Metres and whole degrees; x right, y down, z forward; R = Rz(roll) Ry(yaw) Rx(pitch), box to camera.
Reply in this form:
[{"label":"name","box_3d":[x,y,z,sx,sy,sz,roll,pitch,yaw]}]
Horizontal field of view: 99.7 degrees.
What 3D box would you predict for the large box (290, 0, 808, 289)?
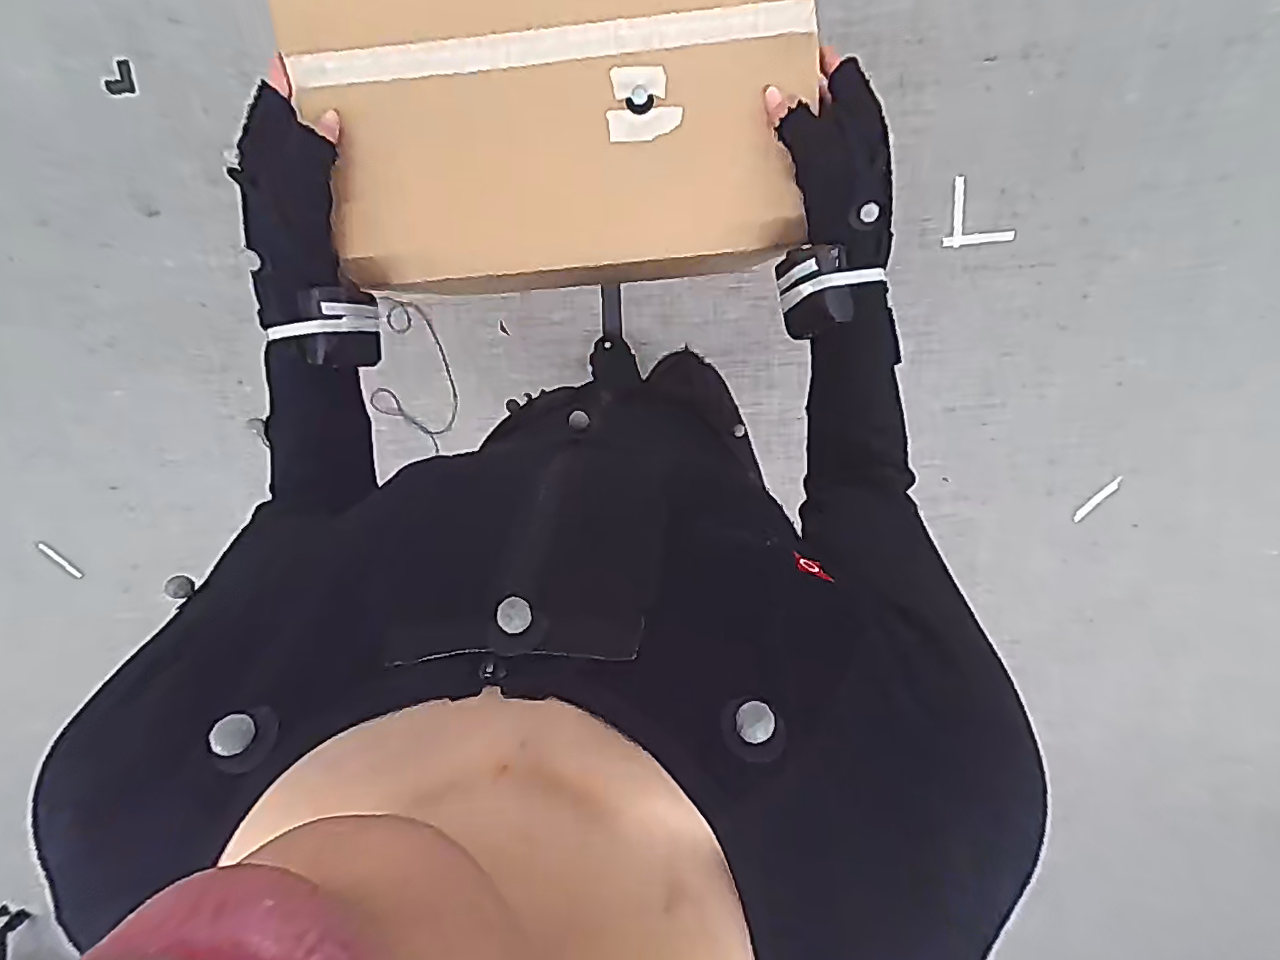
[{"label":"large box","box_3d":[-0.070,-0.388,0.565,0.408,0.320,0.320,-5,108,1]}]
